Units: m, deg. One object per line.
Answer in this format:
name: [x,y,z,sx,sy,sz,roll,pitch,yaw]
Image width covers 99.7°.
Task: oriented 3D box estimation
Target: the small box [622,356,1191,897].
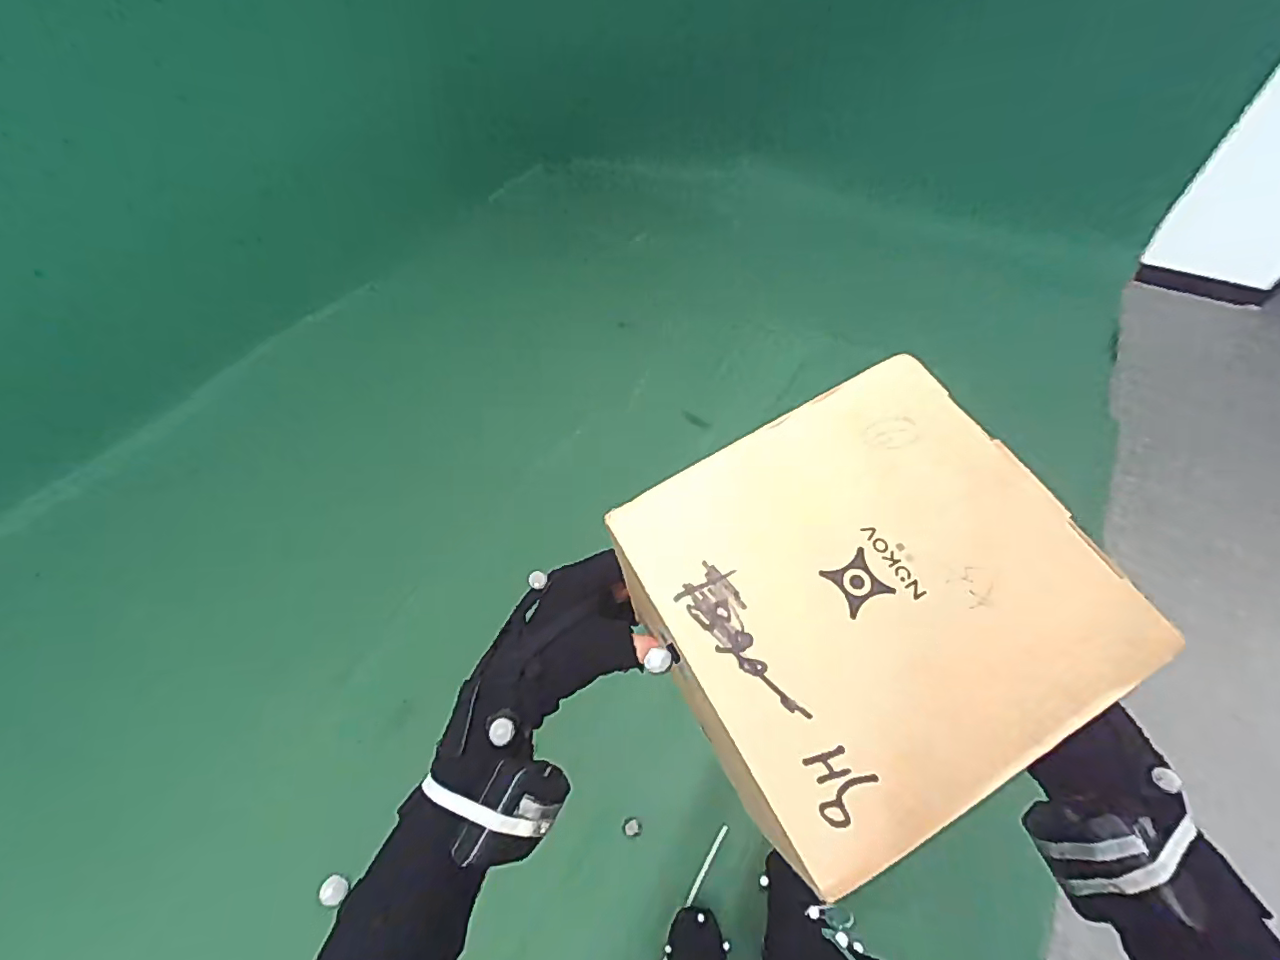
small box: [0.105,0.072,0.298,0.179,0.176,0.168,-27,67,-10]
